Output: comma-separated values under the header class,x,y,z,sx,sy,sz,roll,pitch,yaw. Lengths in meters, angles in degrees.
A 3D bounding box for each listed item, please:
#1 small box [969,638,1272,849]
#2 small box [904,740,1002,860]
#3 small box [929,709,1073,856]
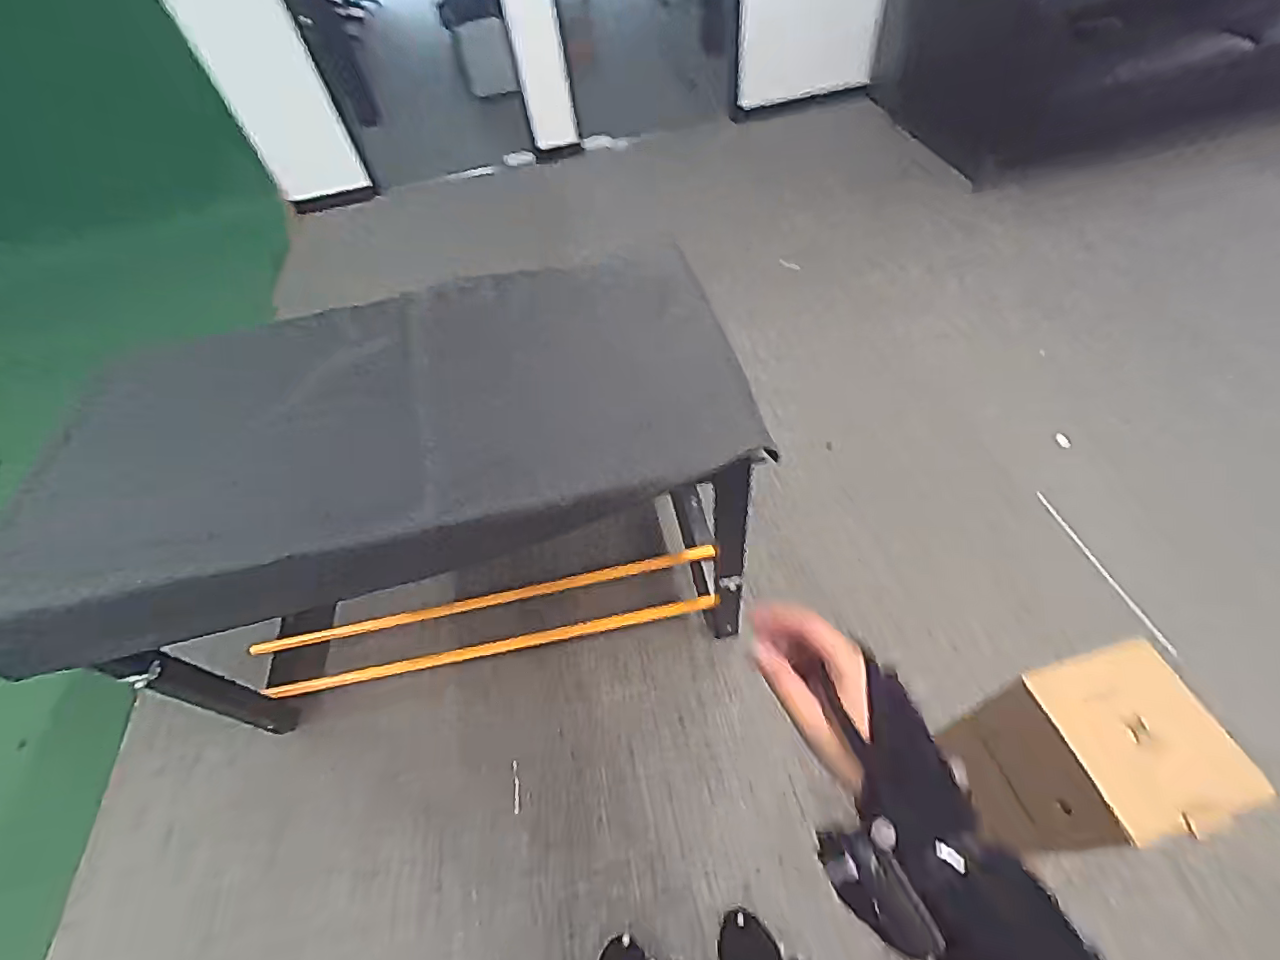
class,x,y,z,sx,sy,sz,roll,pitch,yaw
small box,0.547,0.322,0.651,0.168,0.176,0.179,-16,52,-5
small box,0.574,0.518,0.911,0.179,0.176,0.168,-16,53,-6
small box,0.561,0.418,0.782,0.168,0.176,0.179,-16,53,-5
